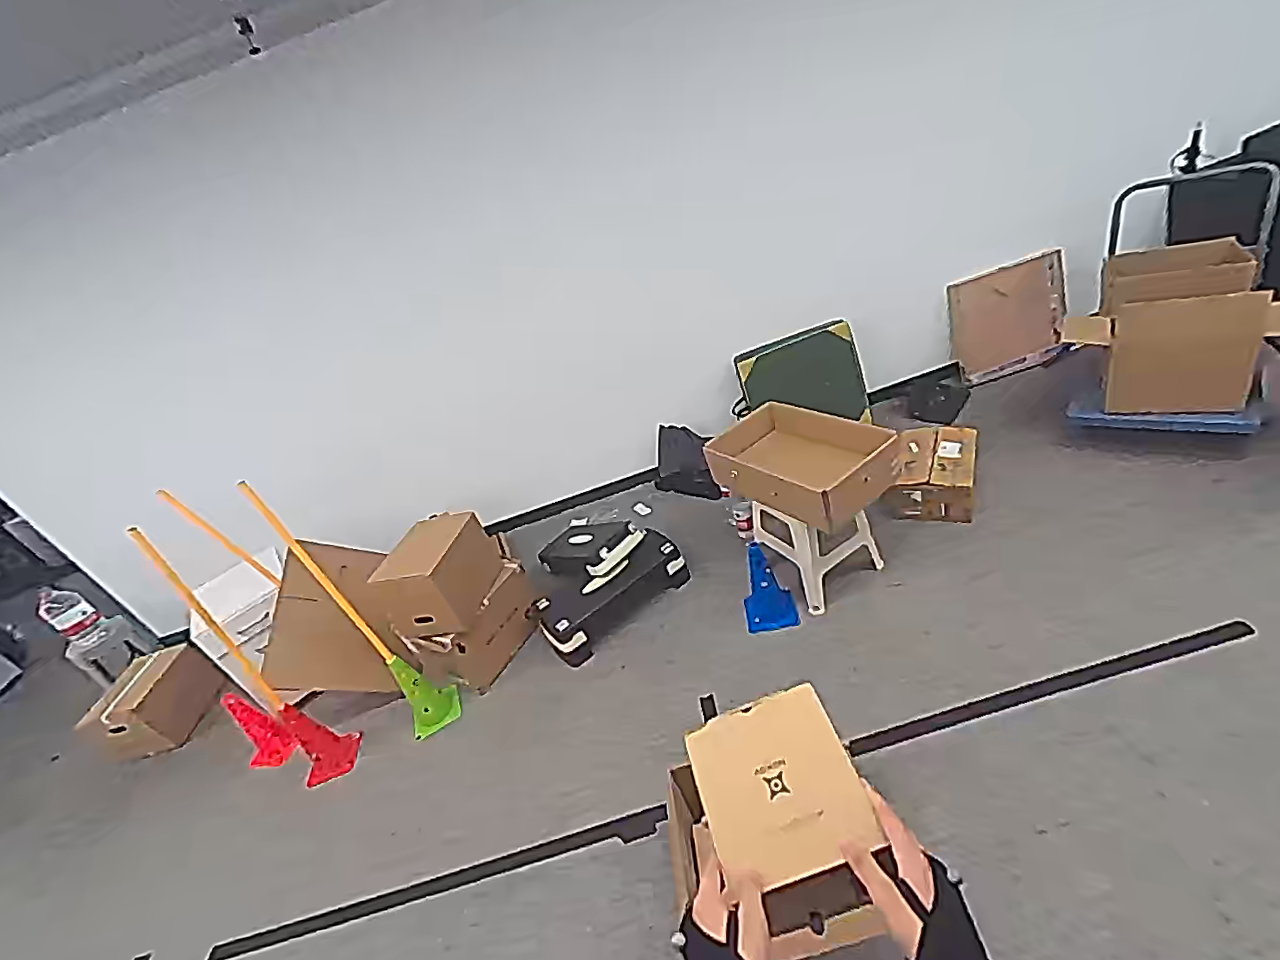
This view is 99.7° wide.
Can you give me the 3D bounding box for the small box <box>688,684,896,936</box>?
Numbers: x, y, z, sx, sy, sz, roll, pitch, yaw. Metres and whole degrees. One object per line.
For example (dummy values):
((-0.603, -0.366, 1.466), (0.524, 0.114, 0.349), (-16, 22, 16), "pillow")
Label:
((0.171, 0.378, 0.624), (0.168, 0.176, 0.179), (-22, 36, 4), "small box")
